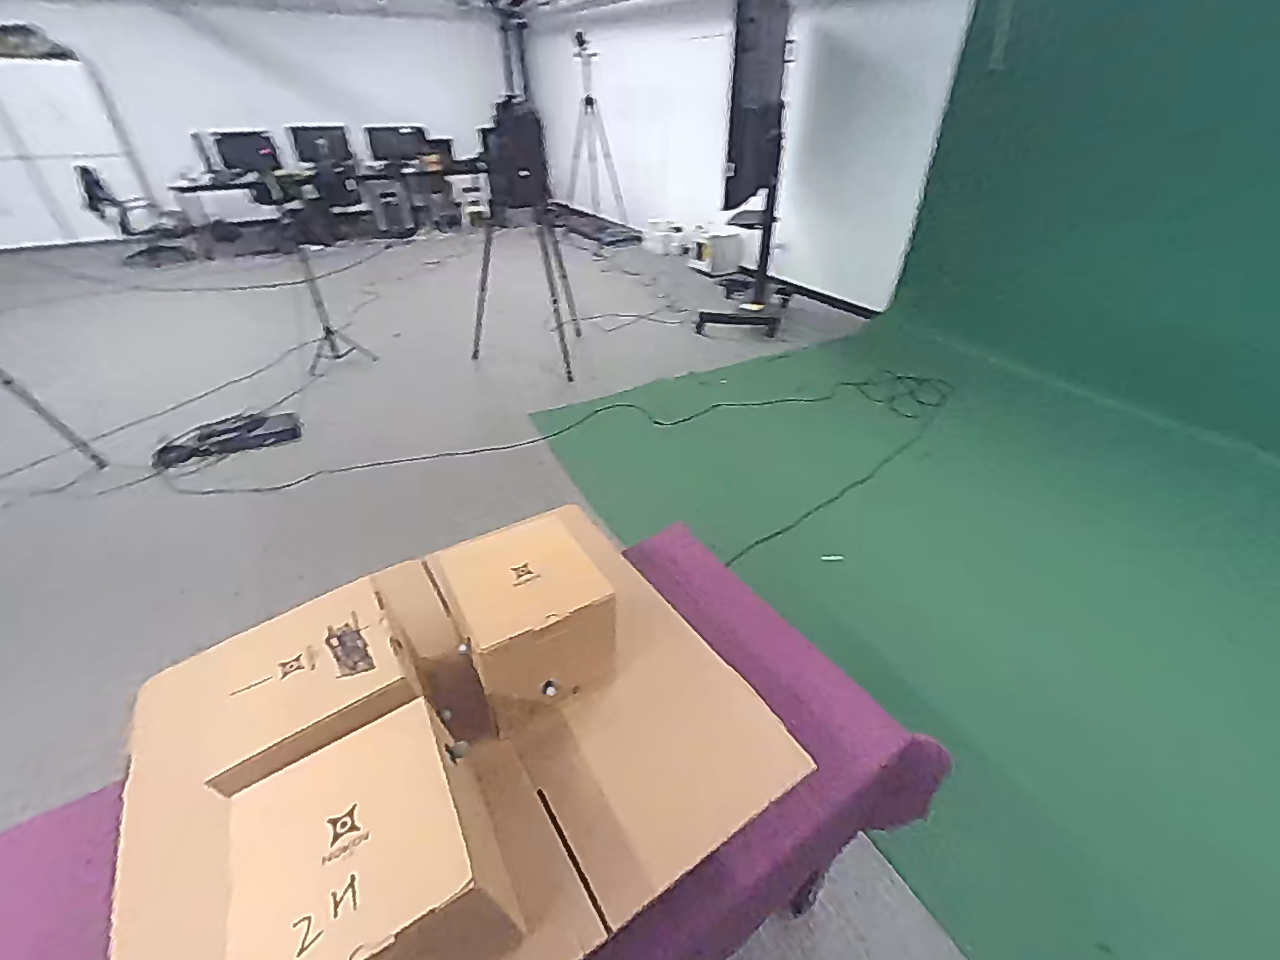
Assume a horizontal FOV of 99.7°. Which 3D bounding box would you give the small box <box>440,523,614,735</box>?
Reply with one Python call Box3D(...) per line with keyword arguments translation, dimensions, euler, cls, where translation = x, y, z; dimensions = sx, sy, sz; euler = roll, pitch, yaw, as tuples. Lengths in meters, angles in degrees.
Box3D(translation=(-0.147, 0.189, 0.711), dimensions=(0.168, 0.176, 0.179), euler=(-19, 40, -27), cls="small box")
